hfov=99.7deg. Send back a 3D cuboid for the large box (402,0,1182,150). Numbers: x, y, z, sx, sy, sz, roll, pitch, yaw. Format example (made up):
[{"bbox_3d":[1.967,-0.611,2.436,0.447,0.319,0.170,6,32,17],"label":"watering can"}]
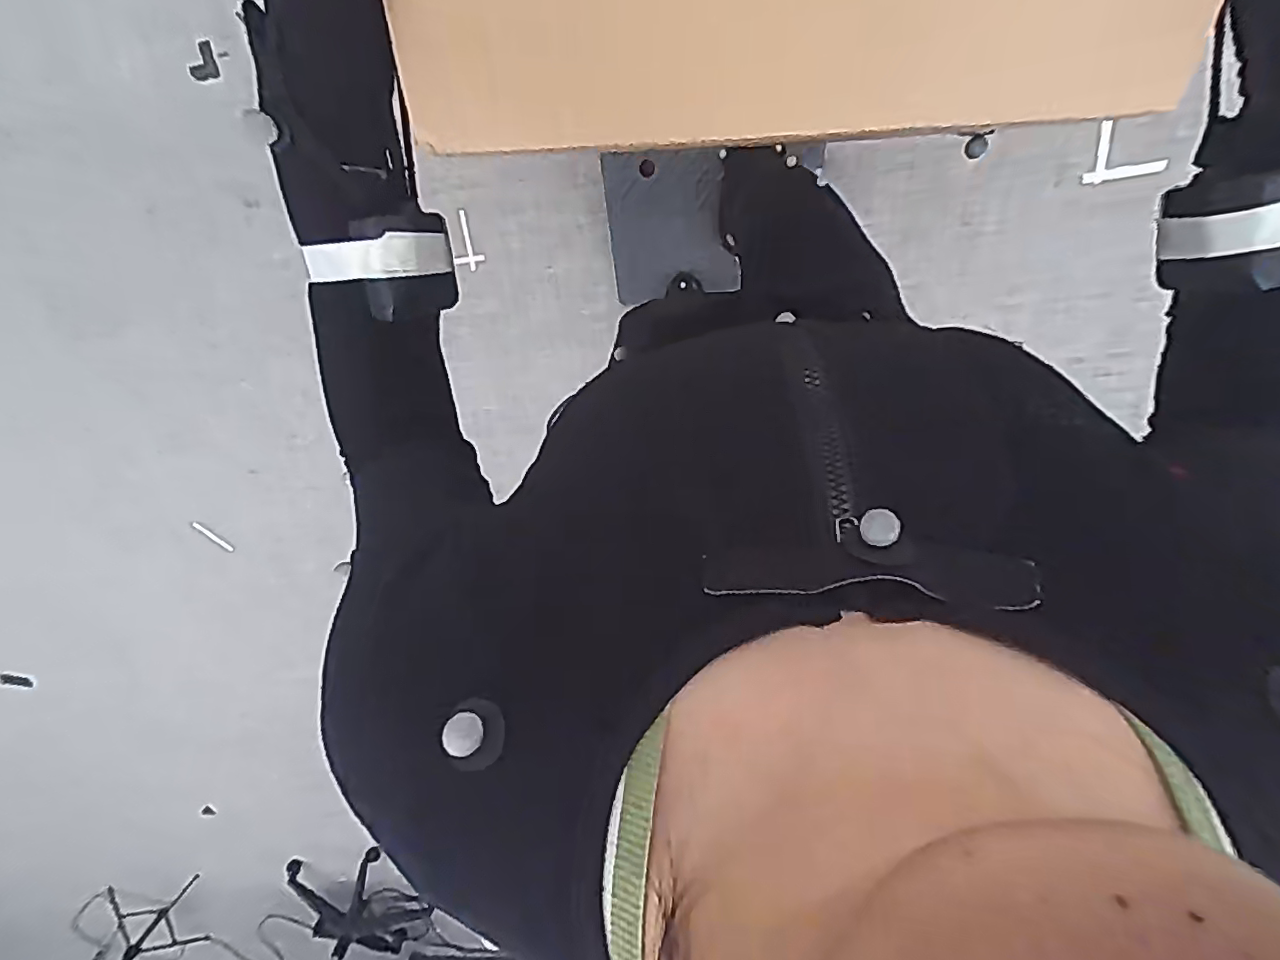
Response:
[{"bbox_3d":[0.075,-0.407,0.348,0.408,0.320,0.320,-2,121,2],"label":"large box"}]

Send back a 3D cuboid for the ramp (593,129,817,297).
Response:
[{"bbox_3d":[0.121,-0.895,1.080,0.509,0.206,0.991,-7,114,4],"label":"ramp"}]
